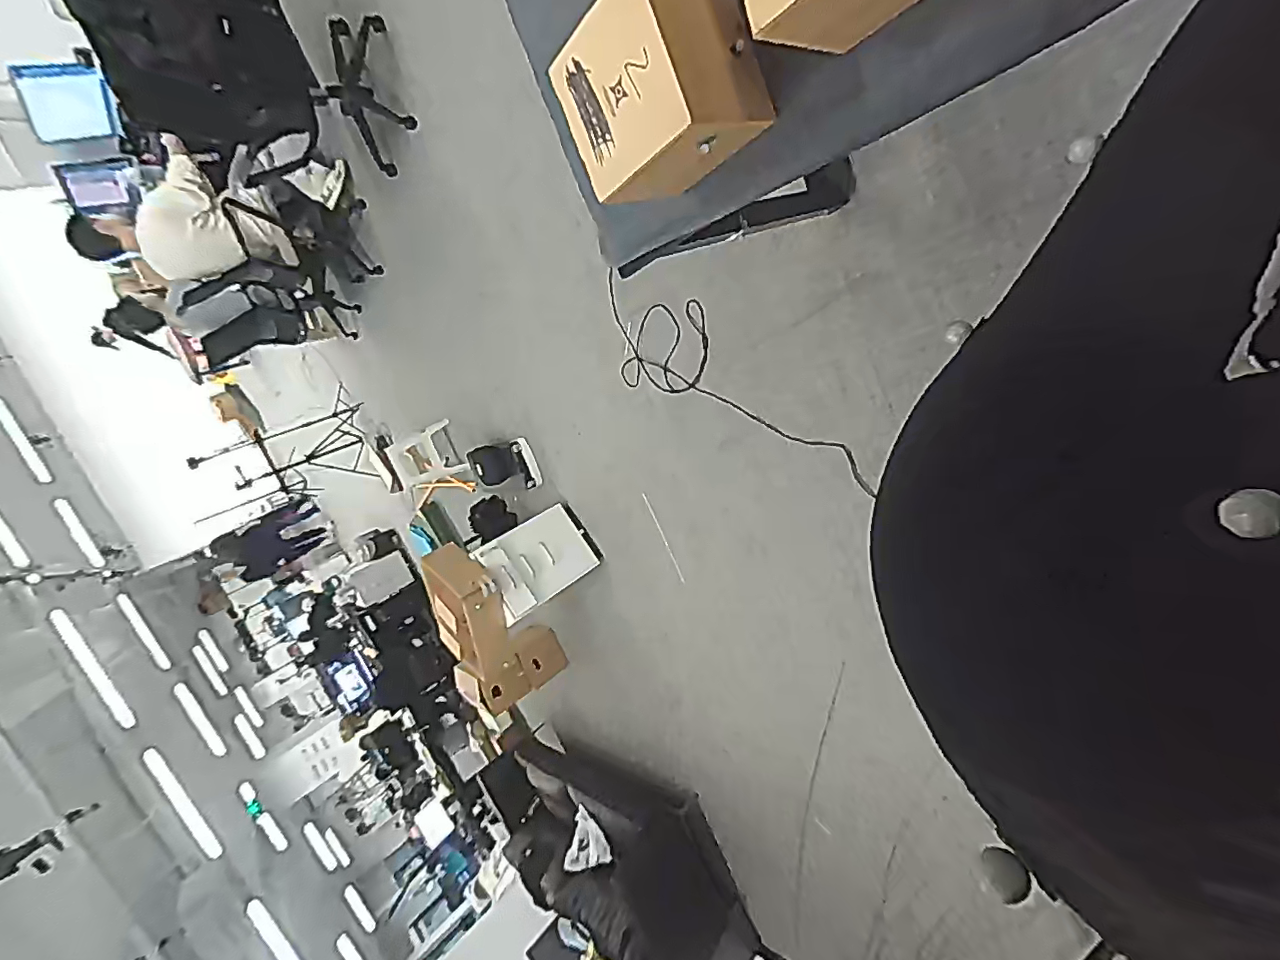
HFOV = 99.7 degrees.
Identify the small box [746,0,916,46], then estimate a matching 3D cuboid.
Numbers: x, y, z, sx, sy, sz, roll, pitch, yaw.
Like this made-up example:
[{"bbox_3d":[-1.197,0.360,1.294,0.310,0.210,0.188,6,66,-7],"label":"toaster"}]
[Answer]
[{"bbox_3d":[0.190,-0.508,0.451,0.179,0.176,0.168,-2,111,51],"label":"small box"}]
